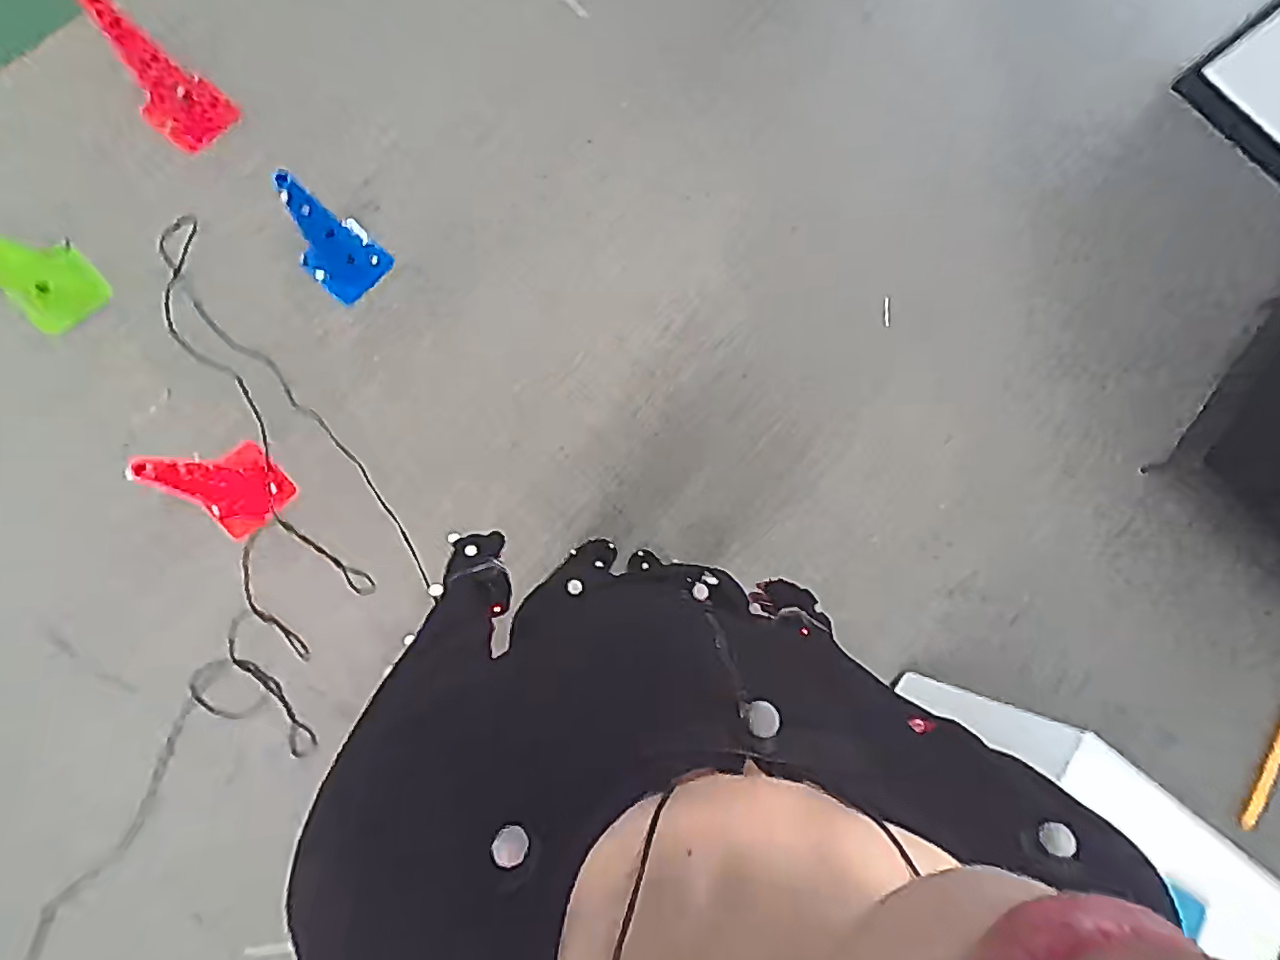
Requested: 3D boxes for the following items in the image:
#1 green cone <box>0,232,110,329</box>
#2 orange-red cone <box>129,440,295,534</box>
[{"bbox_3d":[-1.524,-0.542,1.259,0.200,0.368,0.202,-44,90,-10],"label":"green cone"},{"bbox_3d":[-1.022,-0.010,1.250,0.198,0.360,0.199,-42,87,-11],"label":"orange-red cone"}]
